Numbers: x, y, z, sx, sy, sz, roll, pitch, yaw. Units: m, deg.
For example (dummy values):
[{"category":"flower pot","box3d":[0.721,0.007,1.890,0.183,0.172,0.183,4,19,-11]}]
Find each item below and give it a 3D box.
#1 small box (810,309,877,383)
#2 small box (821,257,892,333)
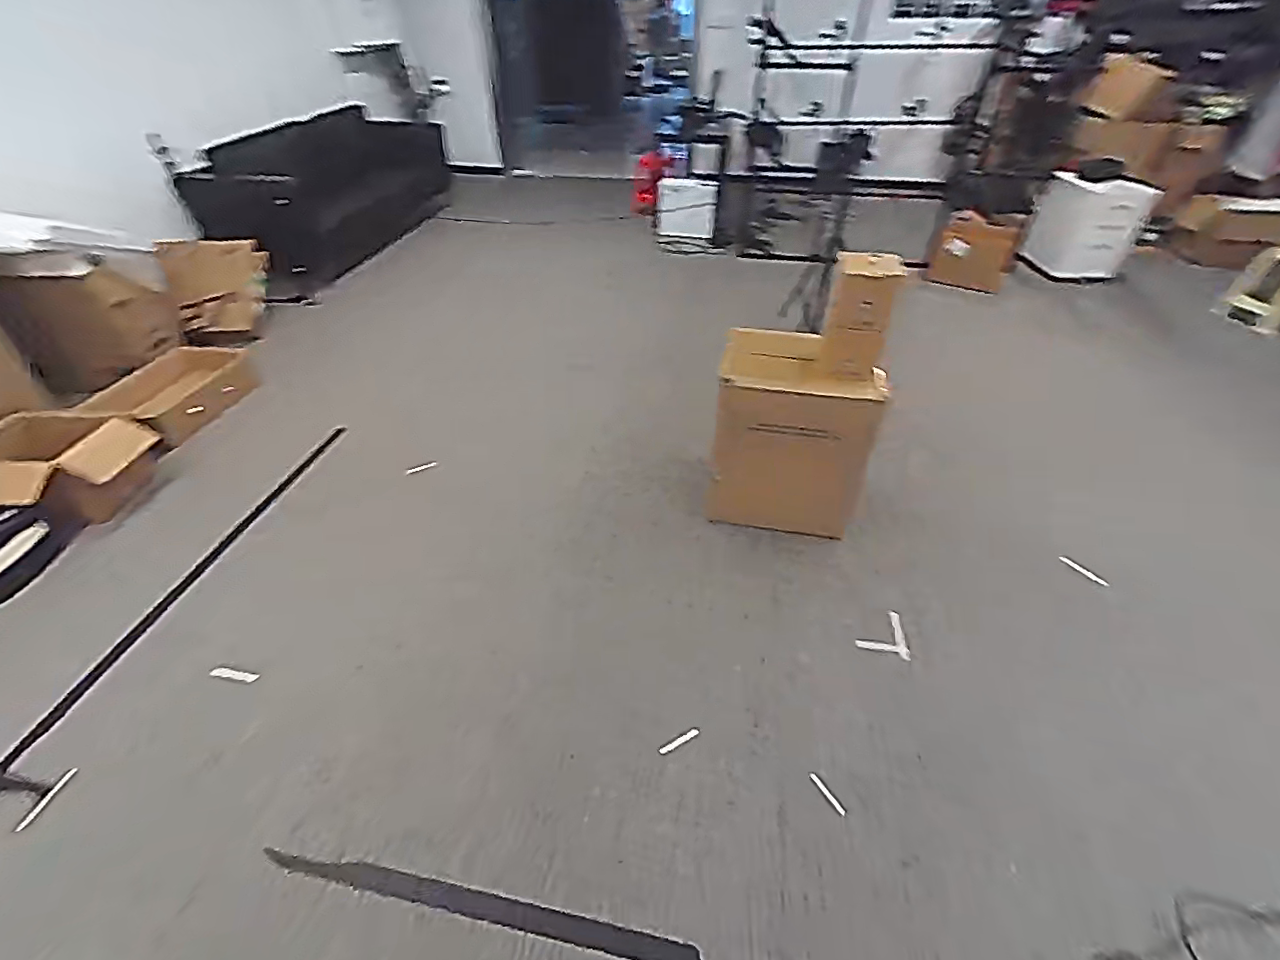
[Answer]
[{"category":"small box","box3d":[0.649,-0.435,1.747,0.168,0.176,0.179,6,42,9]},{"category":"small box","box3d":[0.651,-0.560,1.641,0.168,0.176,0.179,6,42,10]}]
